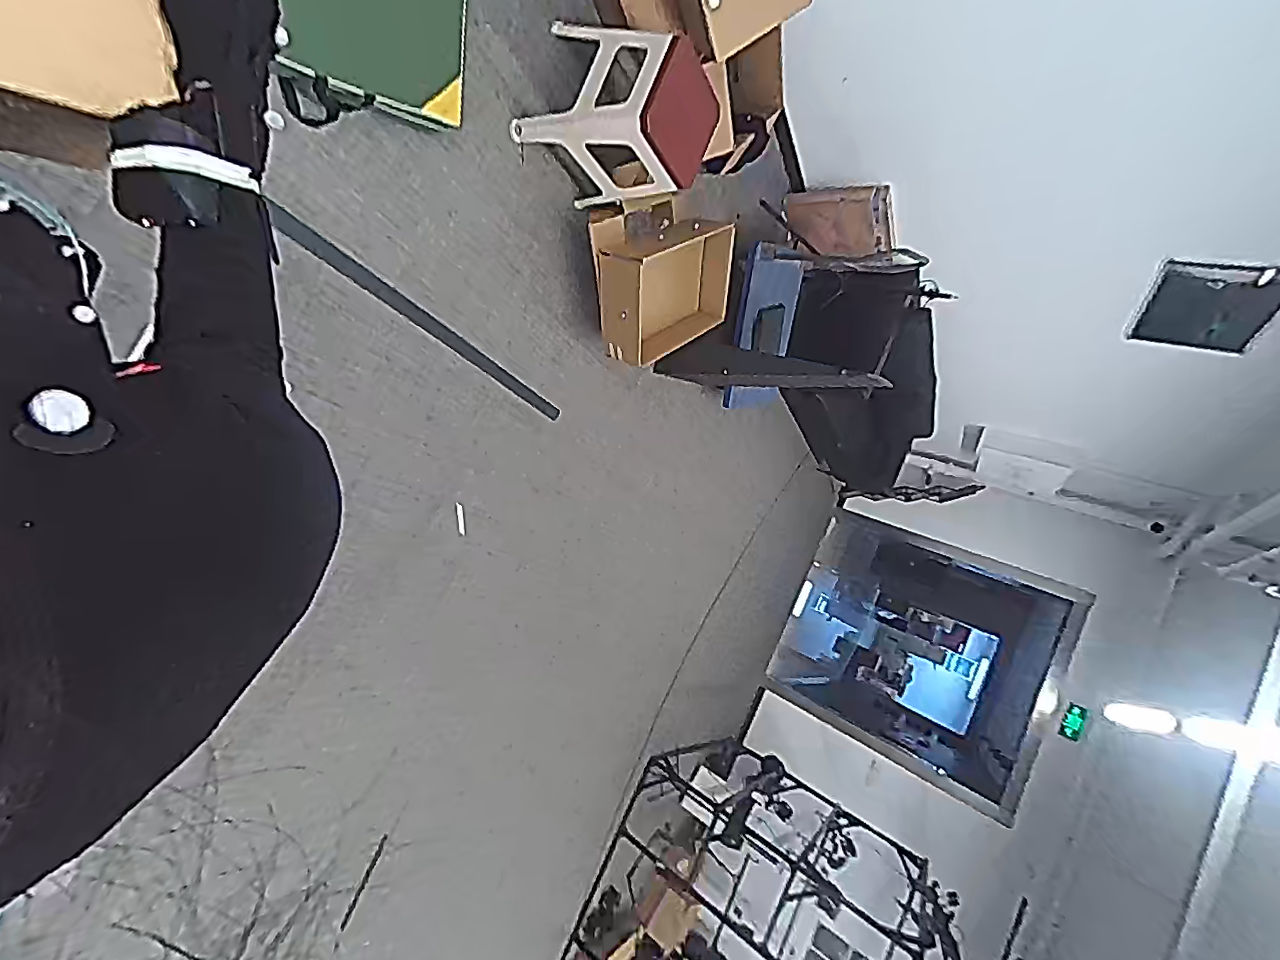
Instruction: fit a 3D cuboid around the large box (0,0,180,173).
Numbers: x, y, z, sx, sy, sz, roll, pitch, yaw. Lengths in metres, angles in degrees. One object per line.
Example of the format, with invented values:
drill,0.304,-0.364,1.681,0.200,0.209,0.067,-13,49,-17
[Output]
large box,-0.554,-0.398,0.285,0.408,0.320,0.320,-11,115,-52
